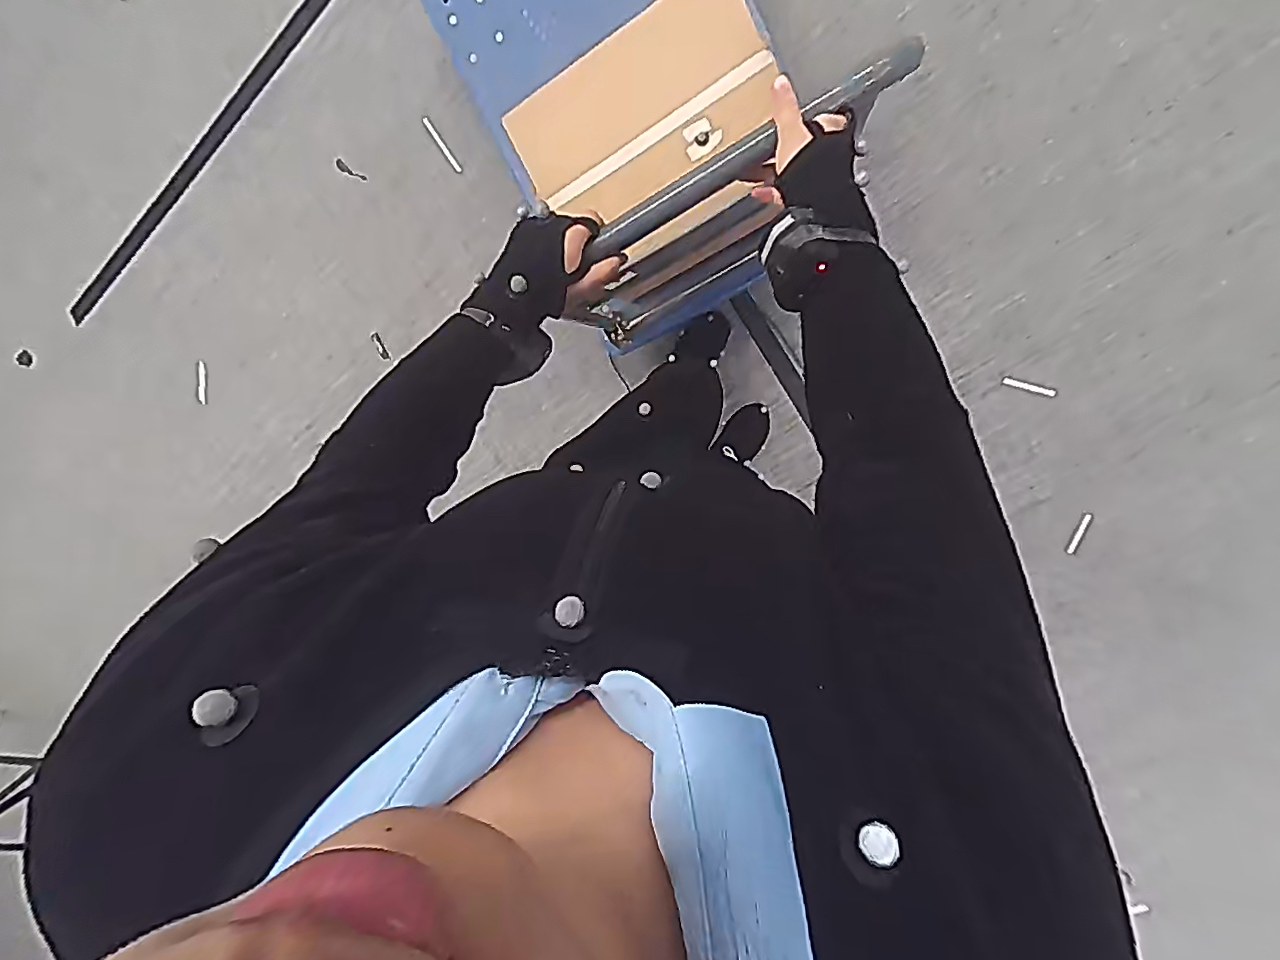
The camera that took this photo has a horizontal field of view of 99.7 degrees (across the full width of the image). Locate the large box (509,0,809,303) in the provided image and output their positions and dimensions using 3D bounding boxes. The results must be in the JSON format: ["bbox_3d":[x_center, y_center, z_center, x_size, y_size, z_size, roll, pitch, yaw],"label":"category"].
[{"bbox_3d":[0.045,-0.577,1.002,0.408,0.320,0.320,-26,99,15],"label":"large box"}]
